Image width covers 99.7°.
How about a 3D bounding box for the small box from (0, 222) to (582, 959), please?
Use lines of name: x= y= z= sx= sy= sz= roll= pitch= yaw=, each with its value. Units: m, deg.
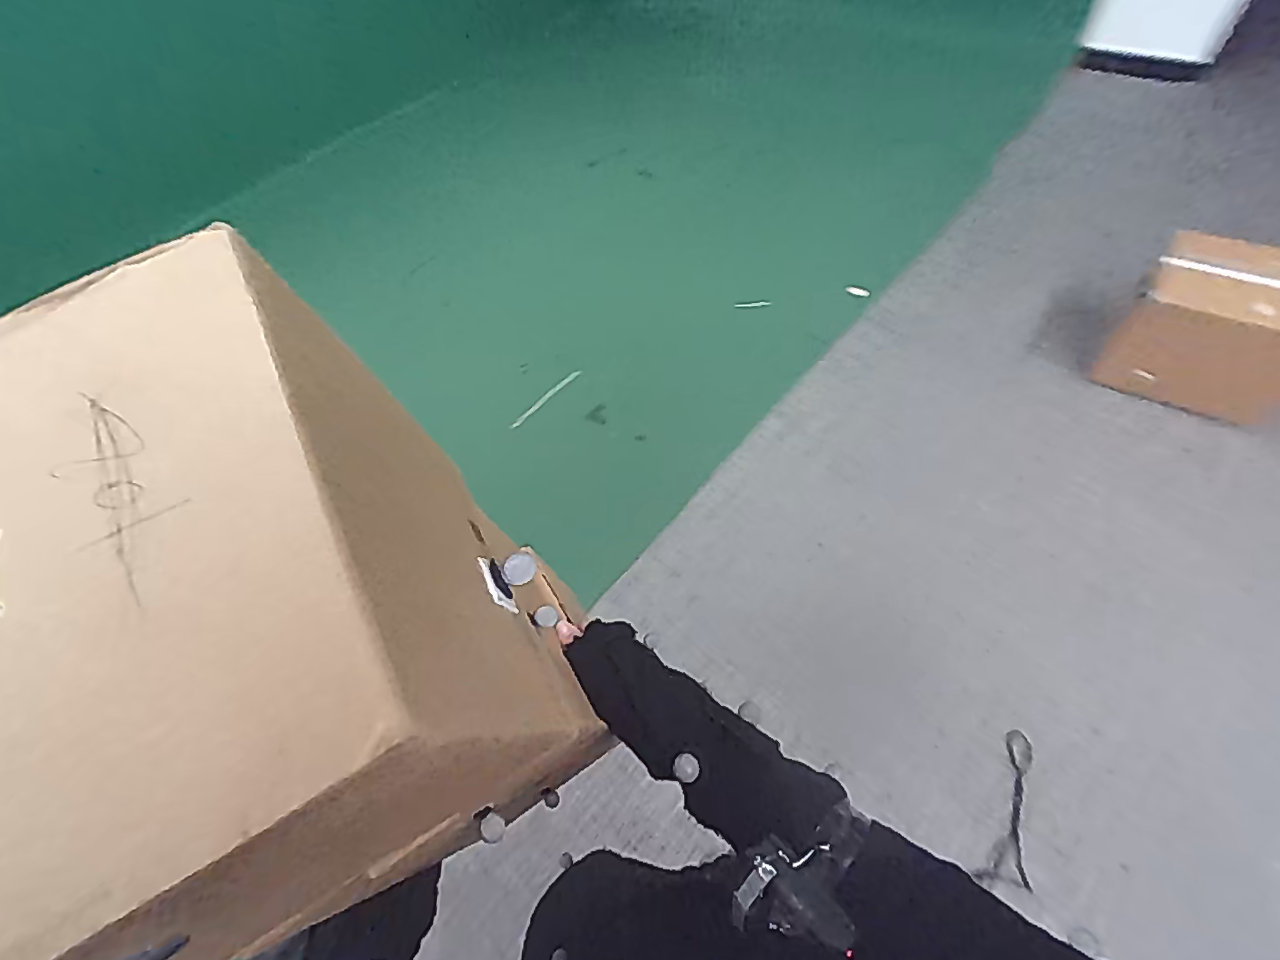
small box: x=-0.143 y=0.057 z=0.195 sx=0.179 sy=0.176 sz=0.168 roll=-30 pitch=67 yaw=-7
